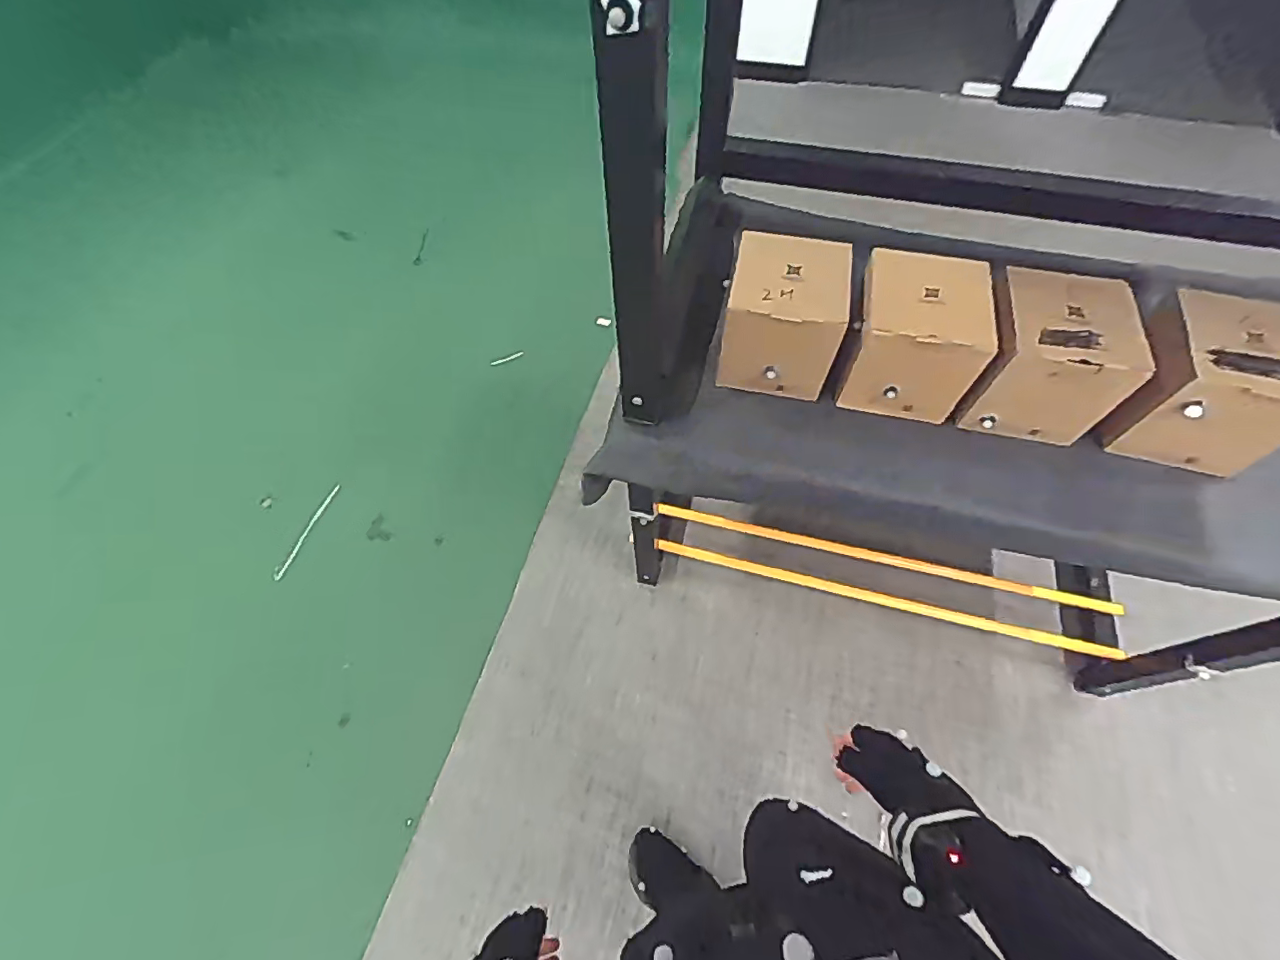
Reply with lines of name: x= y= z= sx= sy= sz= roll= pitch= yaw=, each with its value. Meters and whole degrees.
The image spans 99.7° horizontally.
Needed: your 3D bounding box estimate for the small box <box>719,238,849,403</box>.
small box: x=0.225 y=-0.253 z=0.867 sx=0.168 sy=0.176 sz=0.179 roll=10 pitch=61 yaw=8
